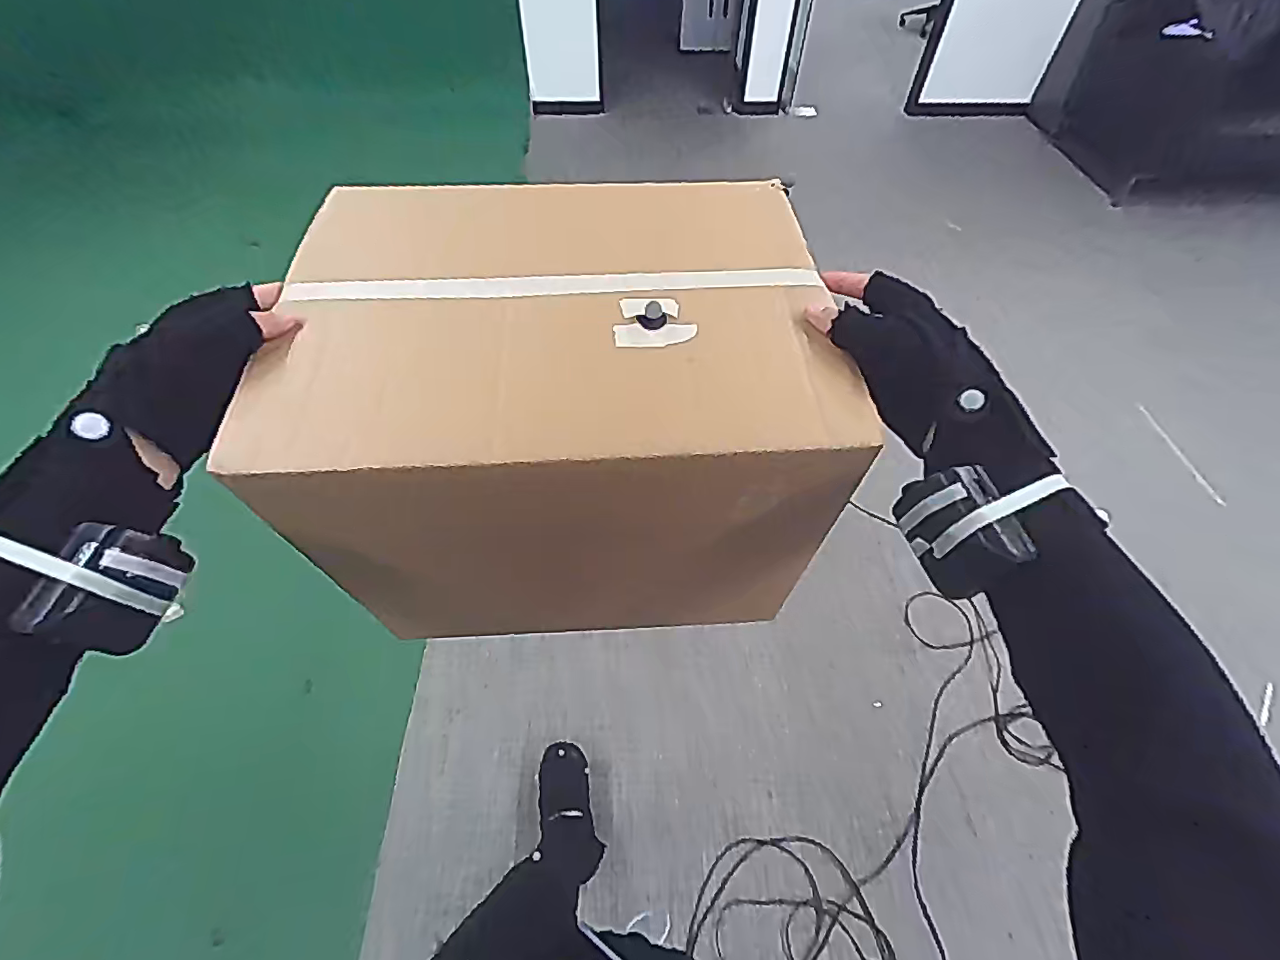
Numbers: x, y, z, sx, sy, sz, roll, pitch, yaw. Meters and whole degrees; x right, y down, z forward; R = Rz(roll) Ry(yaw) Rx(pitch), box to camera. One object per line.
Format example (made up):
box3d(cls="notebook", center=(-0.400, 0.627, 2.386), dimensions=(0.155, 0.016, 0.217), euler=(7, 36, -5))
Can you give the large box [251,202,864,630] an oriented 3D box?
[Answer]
box3d(cls="large box", center=(-0.062, -0.055, 0.552), dimensions=(0.408, 0.320, 0.320), euler=(-2, 56, -4))
